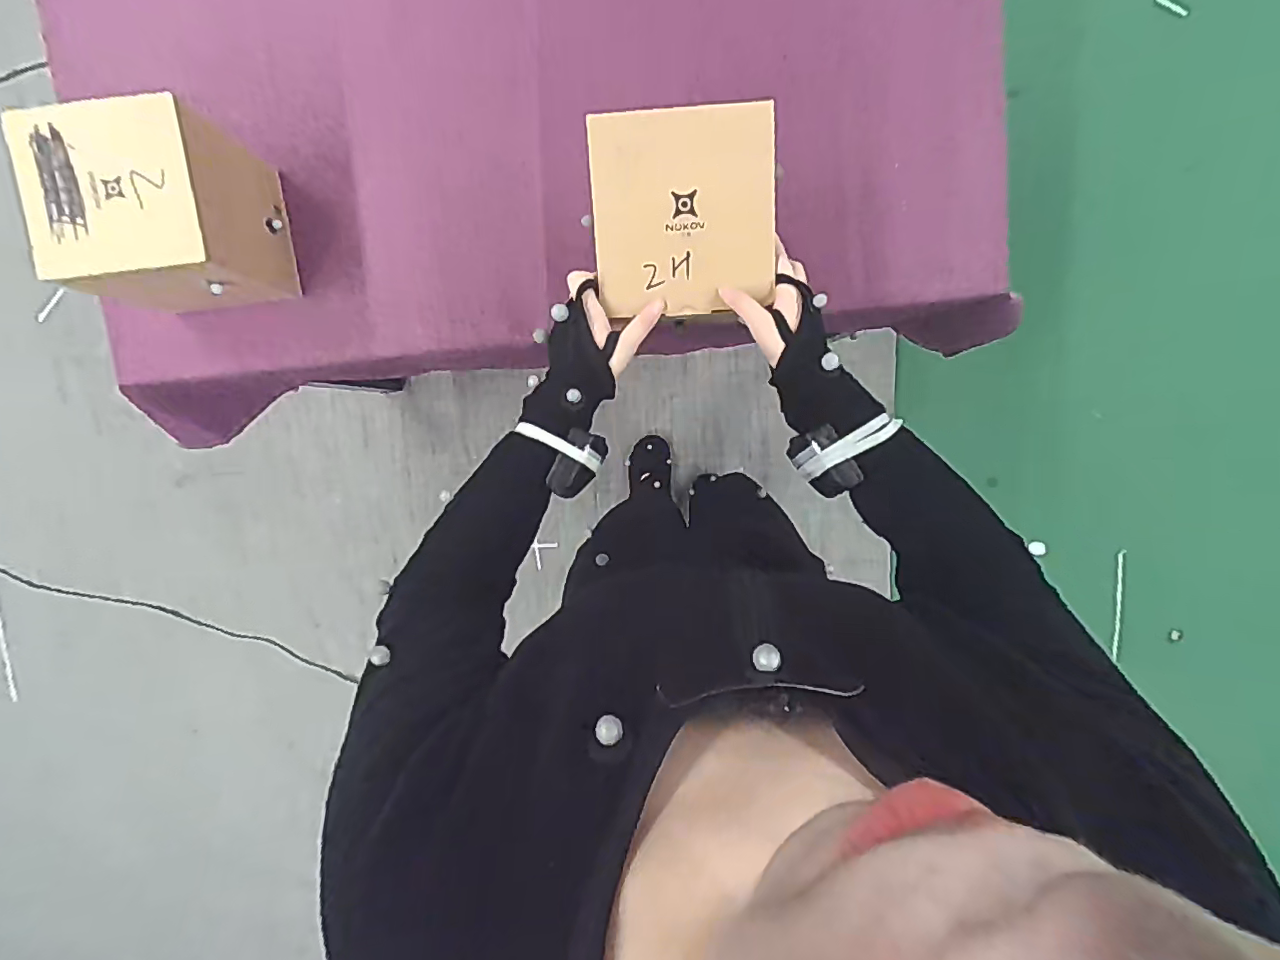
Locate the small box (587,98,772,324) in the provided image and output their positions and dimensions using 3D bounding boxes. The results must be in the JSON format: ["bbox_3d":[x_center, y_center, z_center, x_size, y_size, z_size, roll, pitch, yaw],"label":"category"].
[{"bbox_3d":[0.038,-0.262,0.566,0.168,0.176,0.179,-3,104,2],"label":"small box"}]
